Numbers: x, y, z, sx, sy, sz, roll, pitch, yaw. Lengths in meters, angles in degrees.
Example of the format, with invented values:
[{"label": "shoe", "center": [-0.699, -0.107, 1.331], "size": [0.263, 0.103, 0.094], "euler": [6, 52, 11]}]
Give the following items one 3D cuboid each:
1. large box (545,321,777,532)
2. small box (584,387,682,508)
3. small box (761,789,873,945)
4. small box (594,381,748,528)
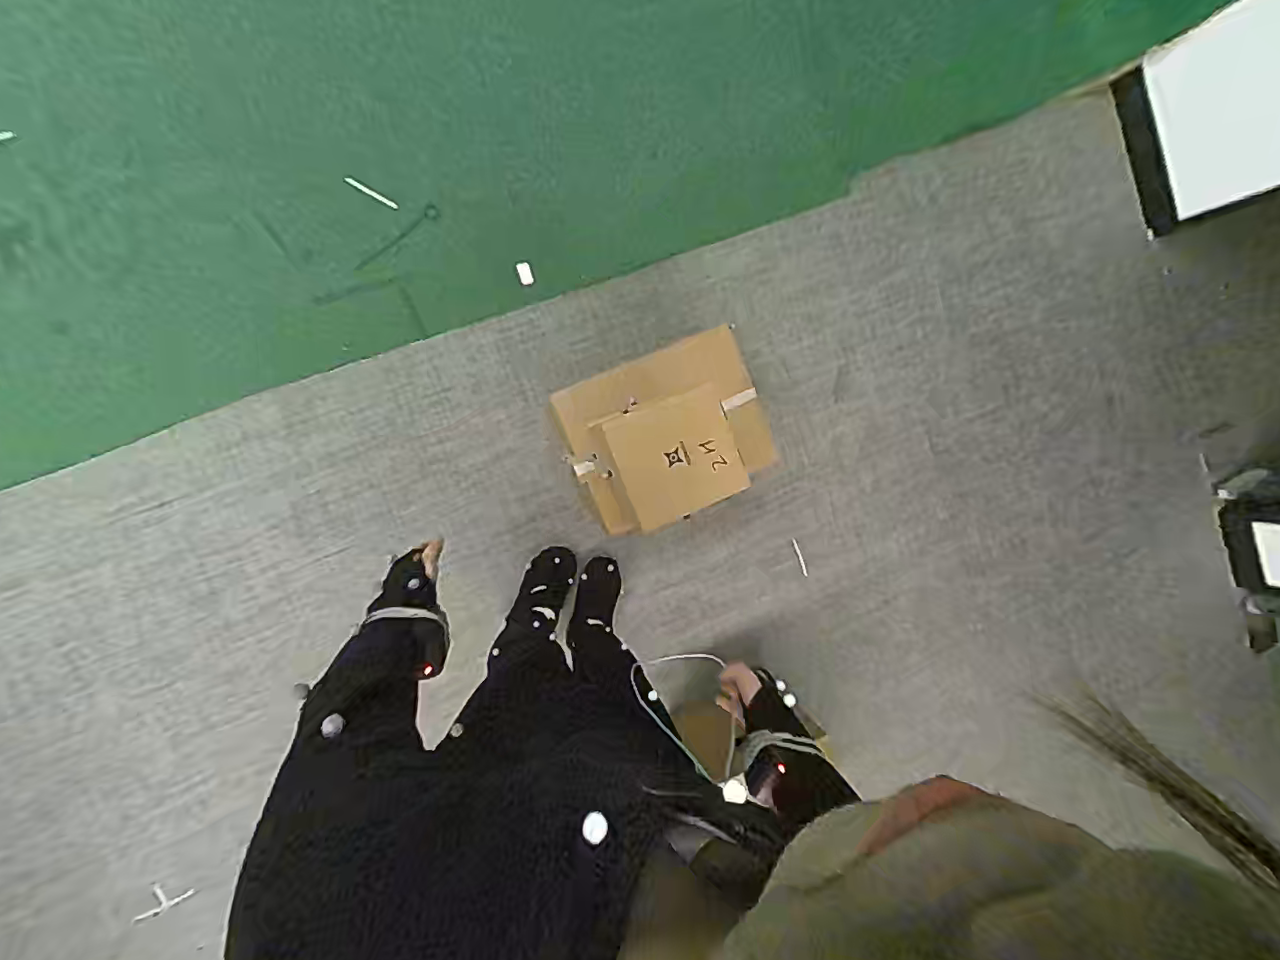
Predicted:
[{"label": "large box", "center": [0.028, -0.117, 1.250], "size": [0.408, 0.320, 0.320], "euler": [-24, 98, -10]}, {"label": "small box", "center": [0.002, -0.058, 0.998], "size": [0.179, 0.176, 0.168], "euler": [-22, 97, -10]}, {"label": "small box", "center": [0.374, 0.795, 1.128], "size": [0.168, 0.176, 0.179], "euler": [-15, 96, -13]}, {"label": "small box", "center": [0.036, -0.040, 0.838], "size": [0.179, 0.176, 0.168], "euler": [-22, 98, -10]}]
